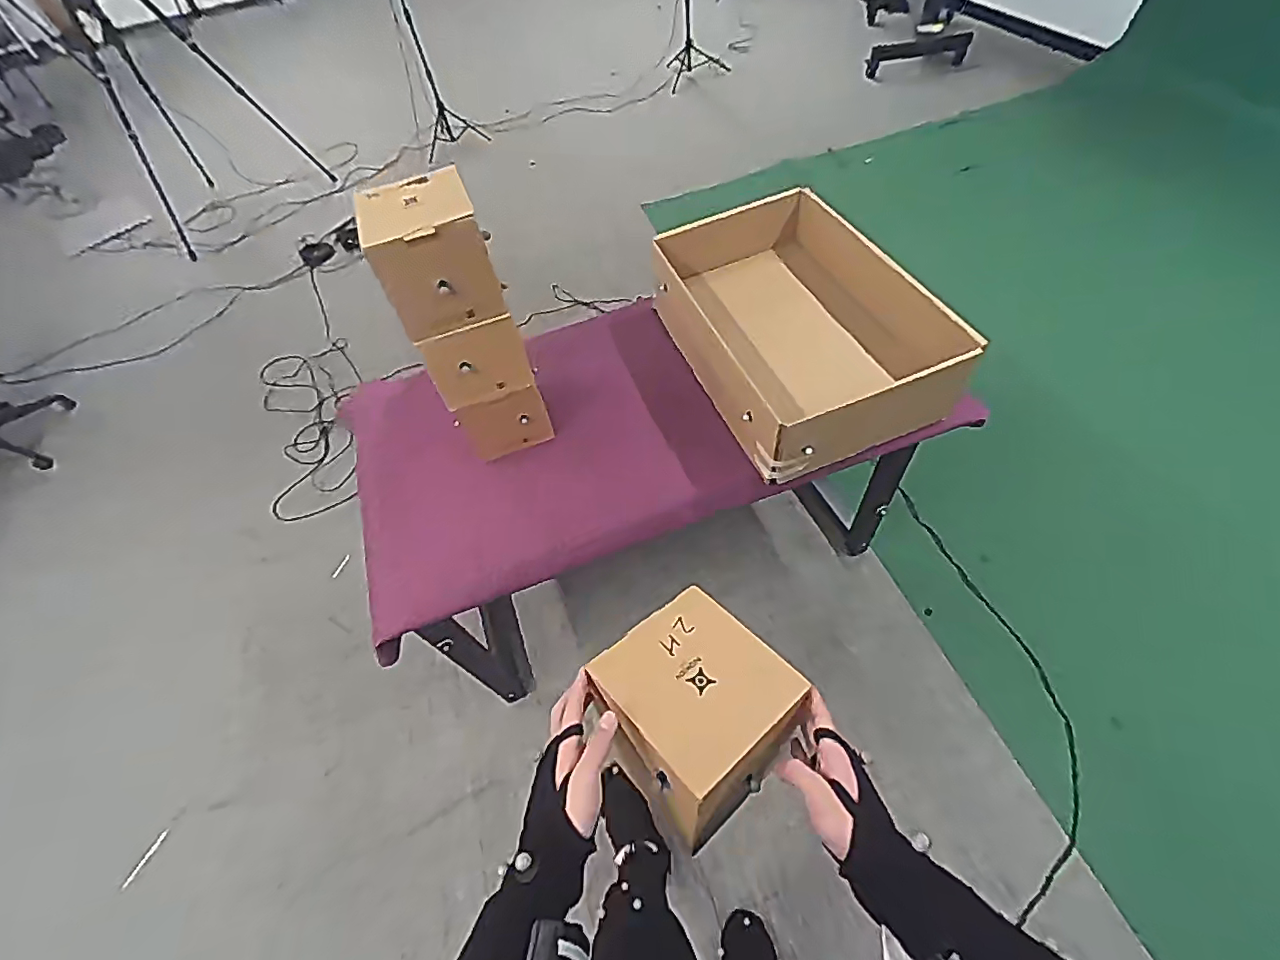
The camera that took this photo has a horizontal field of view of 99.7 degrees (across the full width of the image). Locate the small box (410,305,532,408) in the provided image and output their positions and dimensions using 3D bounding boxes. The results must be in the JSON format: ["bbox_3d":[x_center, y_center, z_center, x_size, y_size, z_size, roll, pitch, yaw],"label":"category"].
[{"bbox_3d":[-0.312,-0.254,0.995,0.168,0.176,0.179,-20,55,-7],"label":"small box"}]

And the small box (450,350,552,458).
[{"bbox_3d":[-0.295,-0.166,1.130,0.168,0.176,0.179,-20,55,-7],"label":"small box"}]

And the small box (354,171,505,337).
[{"bbox_3d":[-0.329,-0.352,0.864,0.168,0.176,0.179,-20,56,-8],"label":"small box"}]
